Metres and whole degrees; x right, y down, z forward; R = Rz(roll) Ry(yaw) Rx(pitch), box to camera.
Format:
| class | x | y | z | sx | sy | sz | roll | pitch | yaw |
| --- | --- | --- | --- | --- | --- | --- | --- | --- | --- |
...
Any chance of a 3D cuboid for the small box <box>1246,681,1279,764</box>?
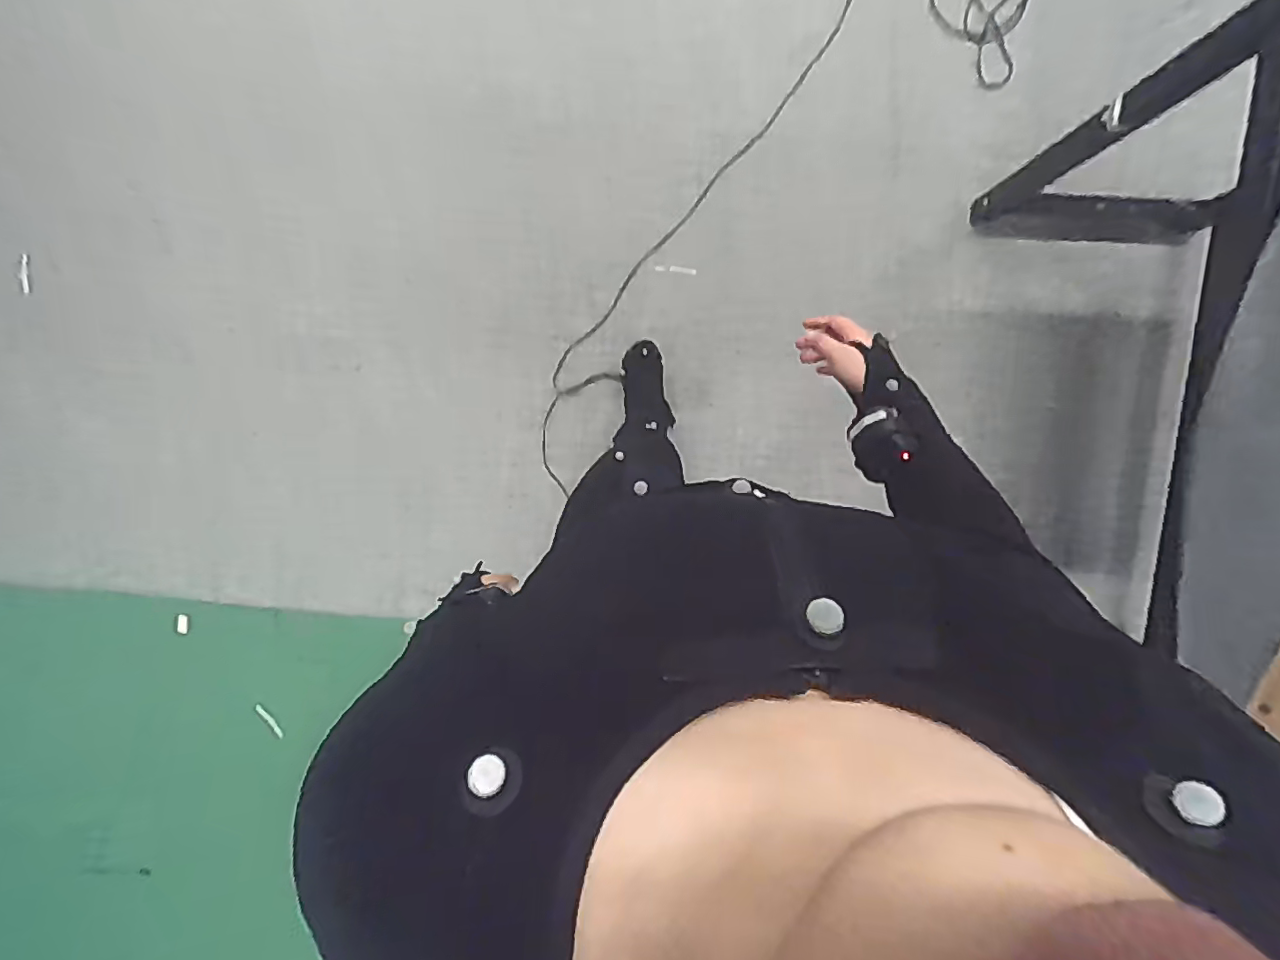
| class | x | y | z | sx | sy | sz | roll | pitch | yaw |
| --- | --- | --- | --- | --- | --- | --- | --- | --- | --- |
| small box | 0.914 | 0.320 | 0.644 | 0.179 | 0.176 | 0.168 | 24 | 96 | -3 |
